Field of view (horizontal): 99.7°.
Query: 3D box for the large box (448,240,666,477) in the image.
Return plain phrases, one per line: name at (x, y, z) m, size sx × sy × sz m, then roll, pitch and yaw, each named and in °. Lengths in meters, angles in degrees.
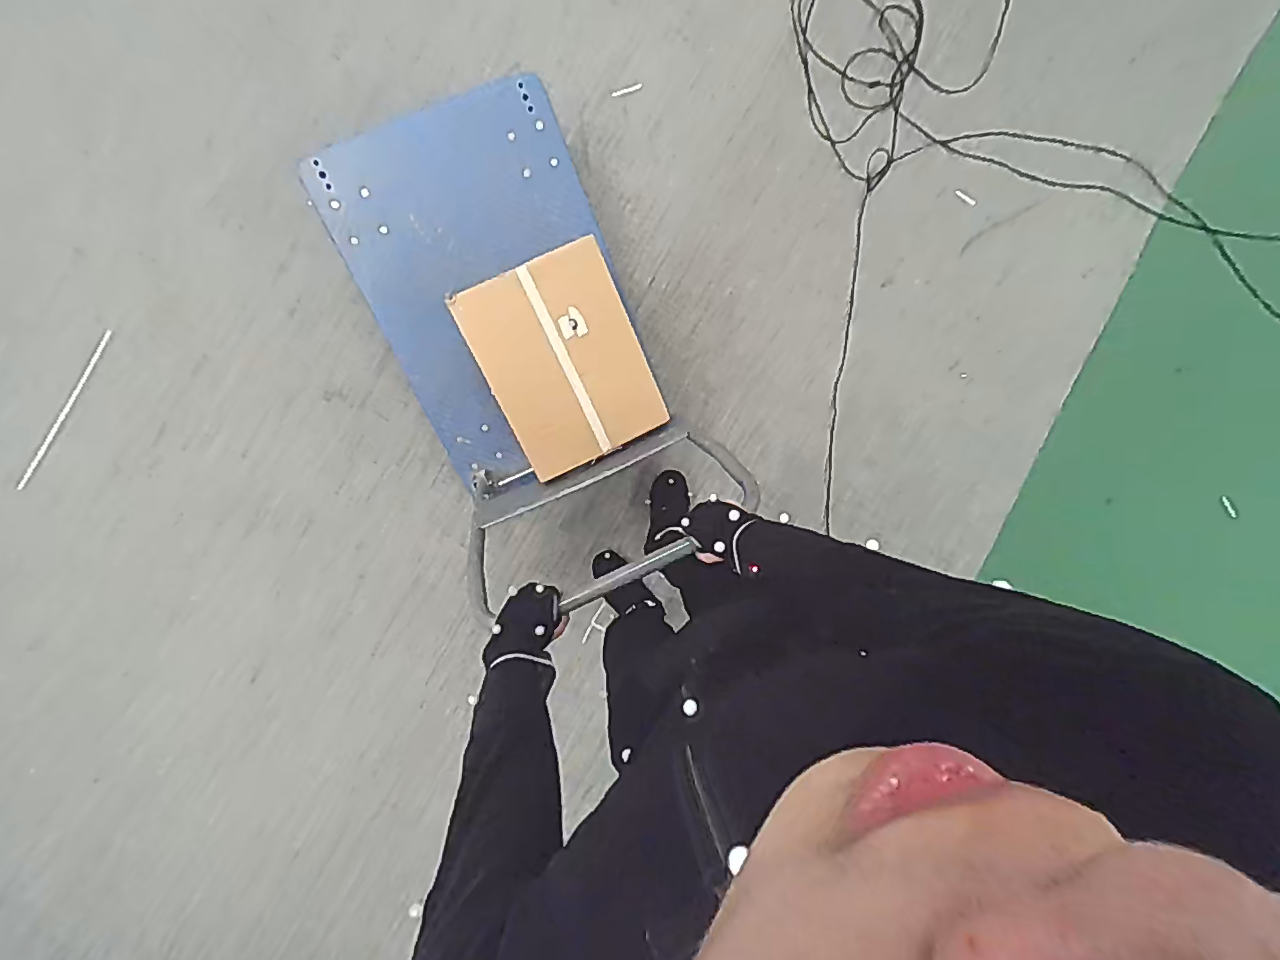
large box at (-0.185, -0.275, 1.257) m, size 0.320 × 0.320 × 0.408 m, roll -27°, pitch 108°, yaw -5°
